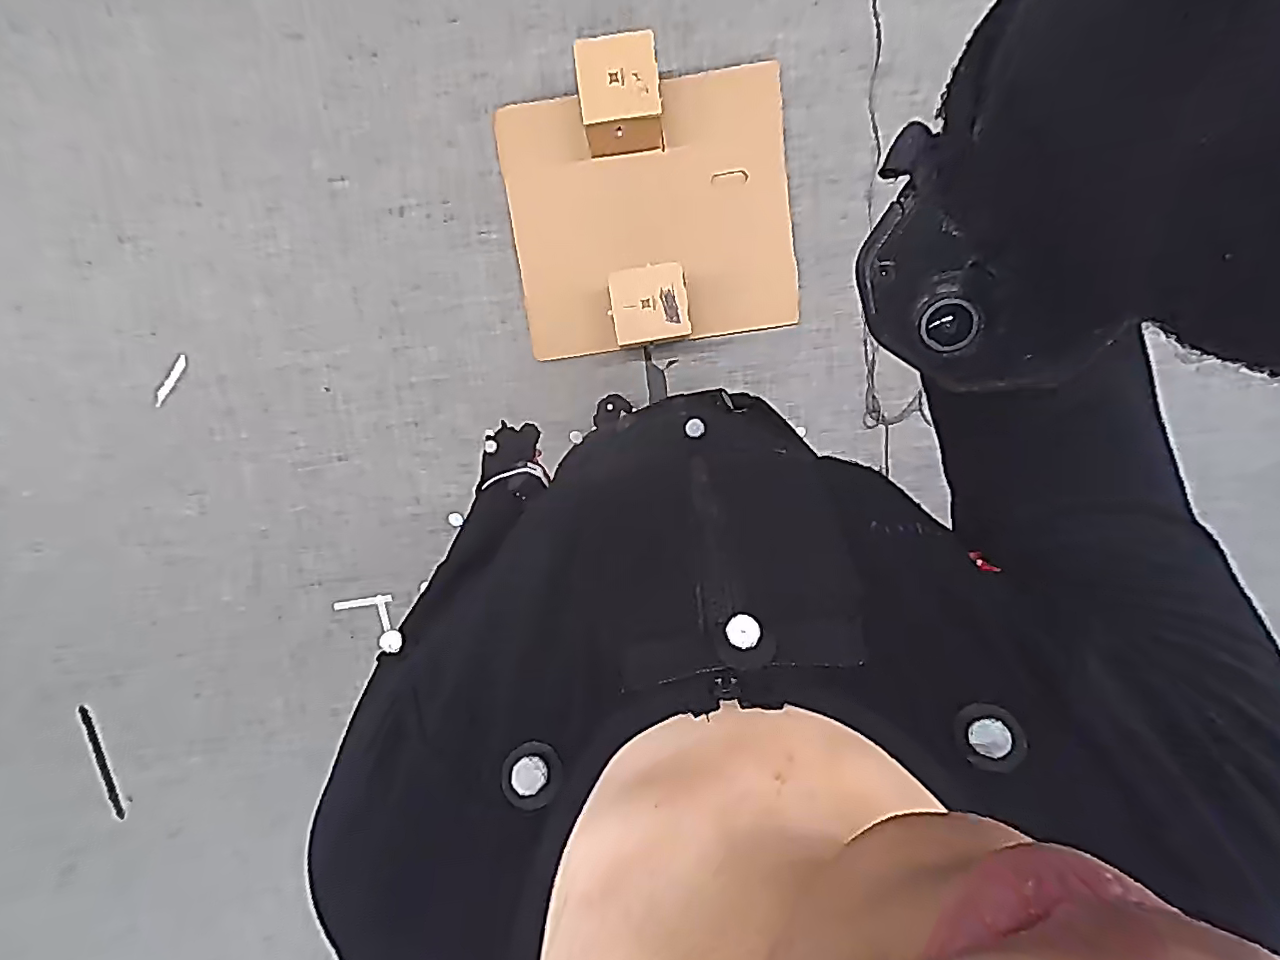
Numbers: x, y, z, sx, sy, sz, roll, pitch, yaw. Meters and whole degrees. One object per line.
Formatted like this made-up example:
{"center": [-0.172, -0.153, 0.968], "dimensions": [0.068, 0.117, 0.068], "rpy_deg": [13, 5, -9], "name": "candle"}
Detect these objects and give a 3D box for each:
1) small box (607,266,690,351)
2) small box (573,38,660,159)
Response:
{"center": [0.021, -0.413, 1.322], "dimensions": [0.179, 0.176, 0.168], "rpy_deg": [-9, 100, 3], "name": "small box"}
{"center": [-0.049, -0.863, 1.241], "dimensions": [0.179, 0.176, 0.168], "rpy_deg": [-6, 100, 1], "name": "small box"}
